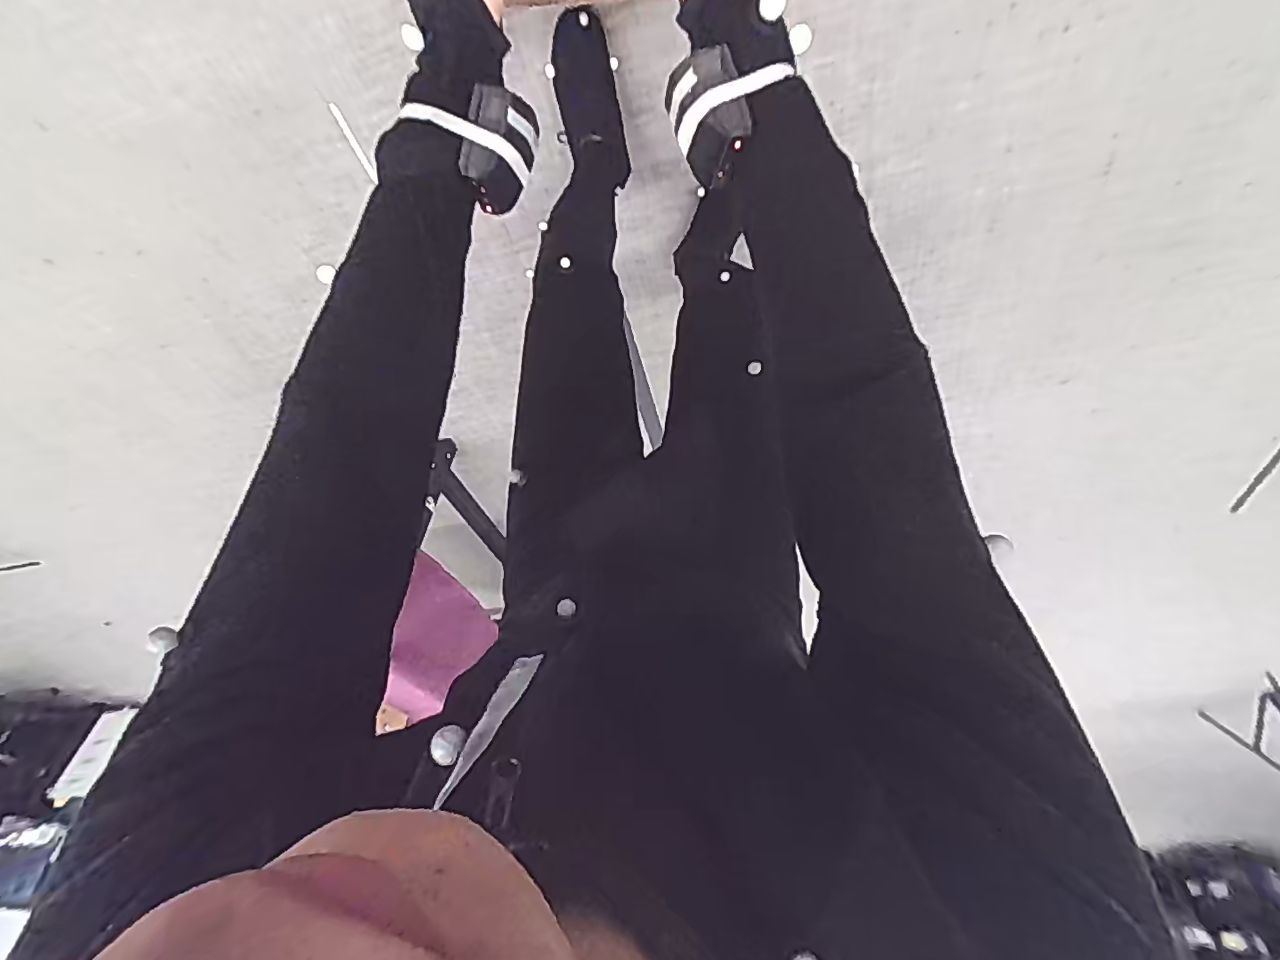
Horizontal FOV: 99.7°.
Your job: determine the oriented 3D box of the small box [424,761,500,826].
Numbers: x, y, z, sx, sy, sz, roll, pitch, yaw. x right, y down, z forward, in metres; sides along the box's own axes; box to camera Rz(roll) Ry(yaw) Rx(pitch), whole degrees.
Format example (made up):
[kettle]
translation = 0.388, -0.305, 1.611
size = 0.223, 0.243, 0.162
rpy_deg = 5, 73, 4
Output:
[small box]
translation = -0.603, 1.081, 1.864
size = 0.179, 0.176, 0.168
rpy_deg = -15, 135, 21
